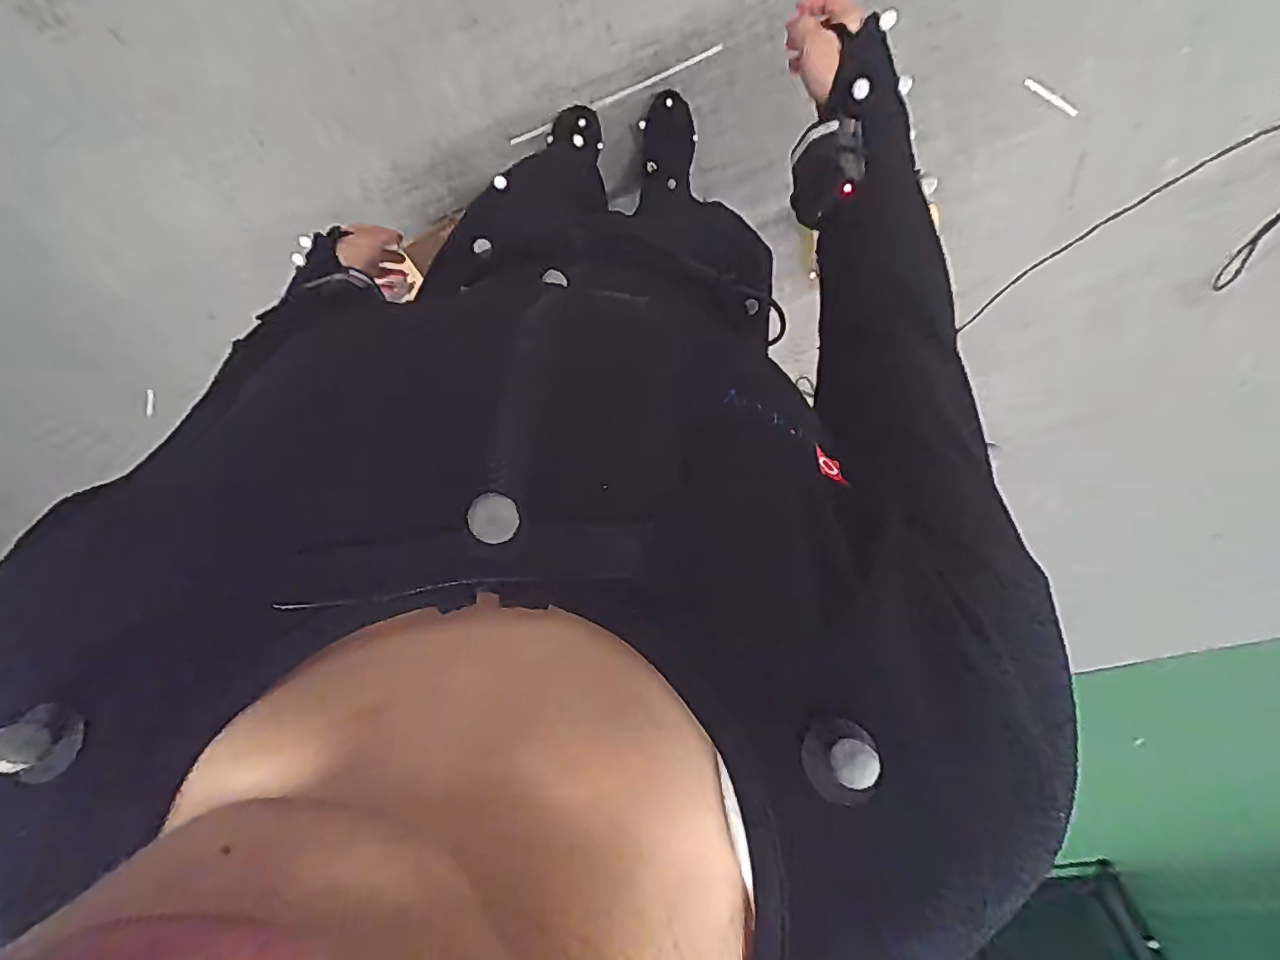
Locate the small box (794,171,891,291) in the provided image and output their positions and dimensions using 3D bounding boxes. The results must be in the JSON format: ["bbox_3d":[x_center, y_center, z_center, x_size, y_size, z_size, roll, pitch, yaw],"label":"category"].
[{"bbox_3d":[0.456,-0.556,1.203,0.168,0.176,0.179,-18,125,14],"label":"small box"}]

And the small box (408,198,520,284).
[{"bbox_3d":[-0.394,-0.531,1.255,0.179,0.176,0.168,-17,124,14],"label":"small box"}]

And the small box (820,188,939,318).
[{"bbox_3d":[0.470,-0.457,1.072,0.168,0.176,0.179,-17,126,14],"label":"small box"}]

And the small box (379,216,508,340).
[{"bbox_3d":[-0.394,-0.426,1.131,0.179,0.176,0.168,-19,123,17],"label":"small box"}]

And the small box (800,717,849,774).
[{"bbox_3d":[0.828,1.189,2.435,0.168,0.176,0.179,-14,124,13],"label":"small box"}]
